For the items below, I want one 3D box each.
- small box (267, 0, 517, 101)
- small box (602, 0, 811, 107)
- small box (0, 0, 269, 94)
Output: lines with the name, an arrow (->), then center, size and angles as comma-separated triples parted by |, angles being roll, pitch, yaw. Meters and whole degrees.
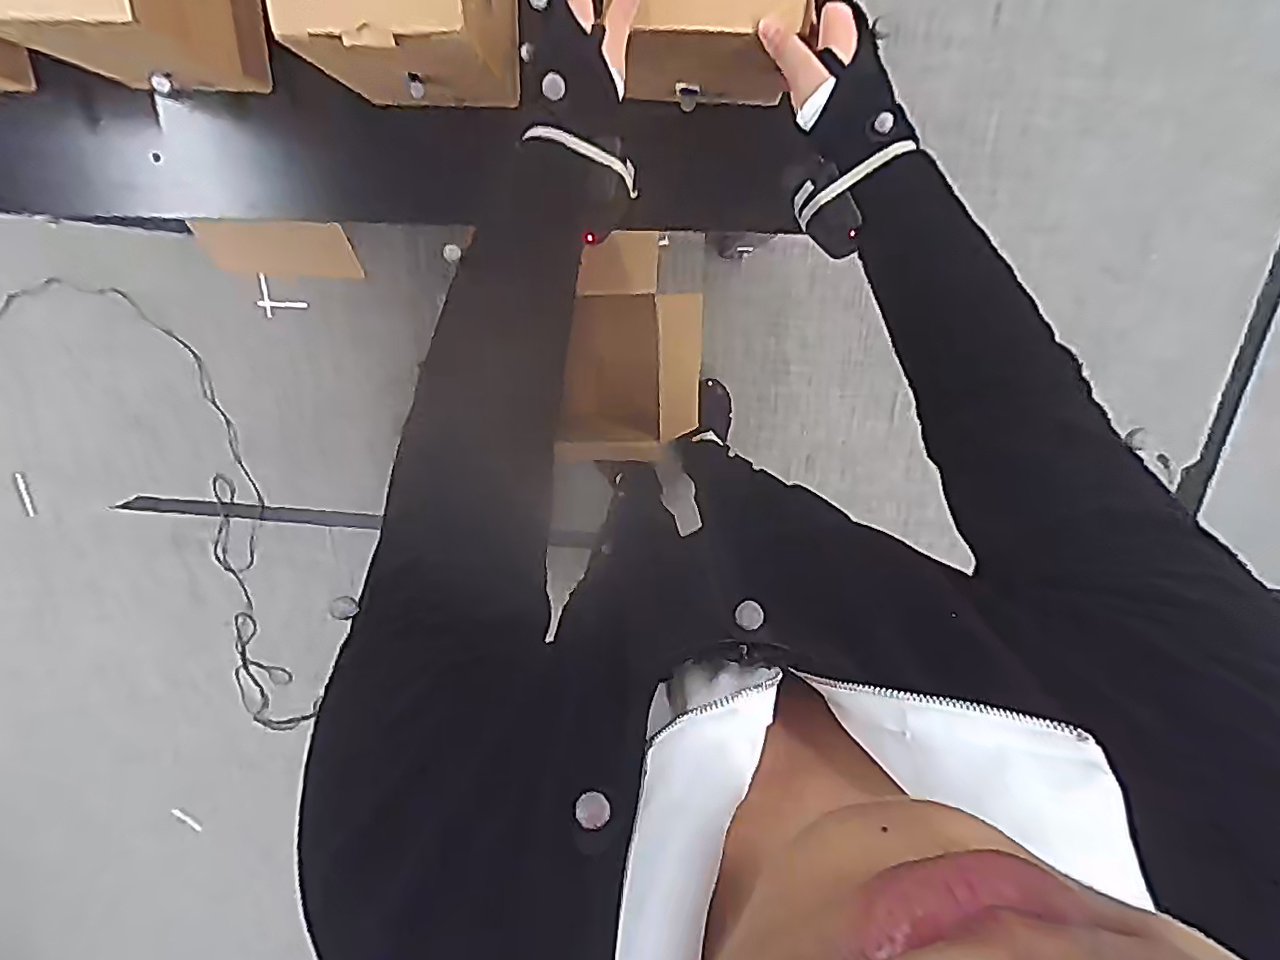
small box -> -0.216, -0.471, 0.494 | 0.168, 0.176, 0.179 | 3, 109, 3
small box -> 0.061, -0.462, 0.478 | 0.168, 0.176, 0.179 | 4, 109, 4
small box -> -0.491, -0.495, 0.503 | 0.168, 0.176, 0.179 | 4, 109, 3
